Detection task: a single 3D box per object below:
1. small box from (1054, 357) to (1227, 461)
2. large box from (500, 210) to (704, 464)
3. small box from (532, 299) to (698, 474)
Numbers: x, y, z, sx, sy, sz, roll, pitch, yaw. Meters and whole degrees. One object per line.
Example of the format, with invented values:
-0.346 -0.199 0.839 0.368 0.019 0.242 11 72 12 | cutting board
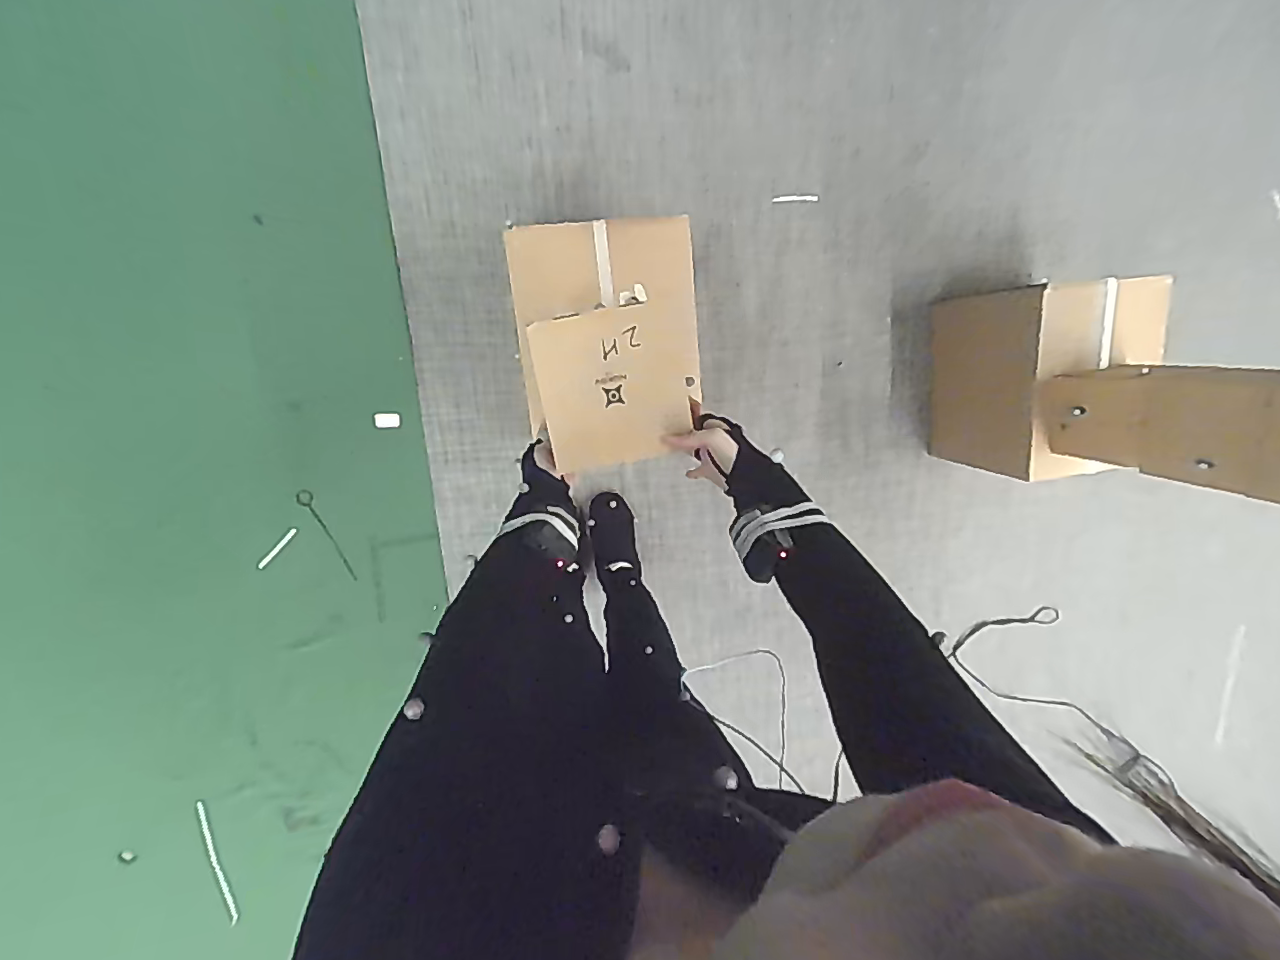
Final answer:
0.963 -0.145 1.055 0.179 0.176 0.168 -10 105 -7 | small box
-0.077 -0.272 1.077 0.320 0.320 0.408 -8 104 -9 | large box
-0.029 -0.121 0.687 0.168 0.176 0.179 -11 104 -1 | small box
